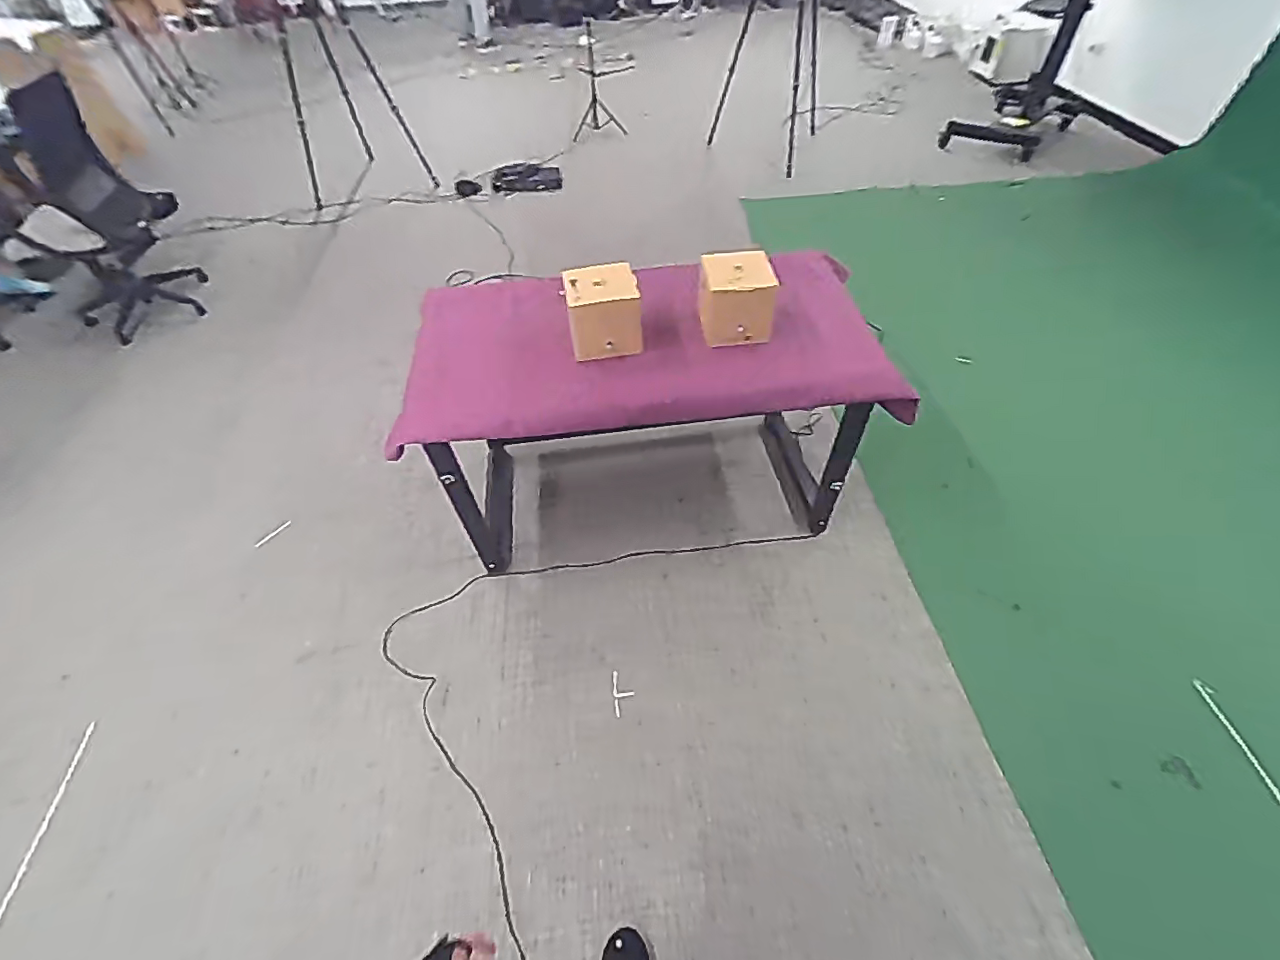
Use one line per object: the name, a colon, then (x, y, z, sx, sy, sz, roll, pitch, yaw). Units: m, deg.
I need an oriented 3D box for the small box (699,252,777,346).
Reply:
small box: (0.248, -0.473, 1.416, 0.168, 0.176, 0.179, -5, 51, 0)

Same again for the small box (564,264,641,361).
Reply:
small box: (-0.095, -0.431, 1.399, 0.179, 0.176, 0.168, -9, 51, -5)
